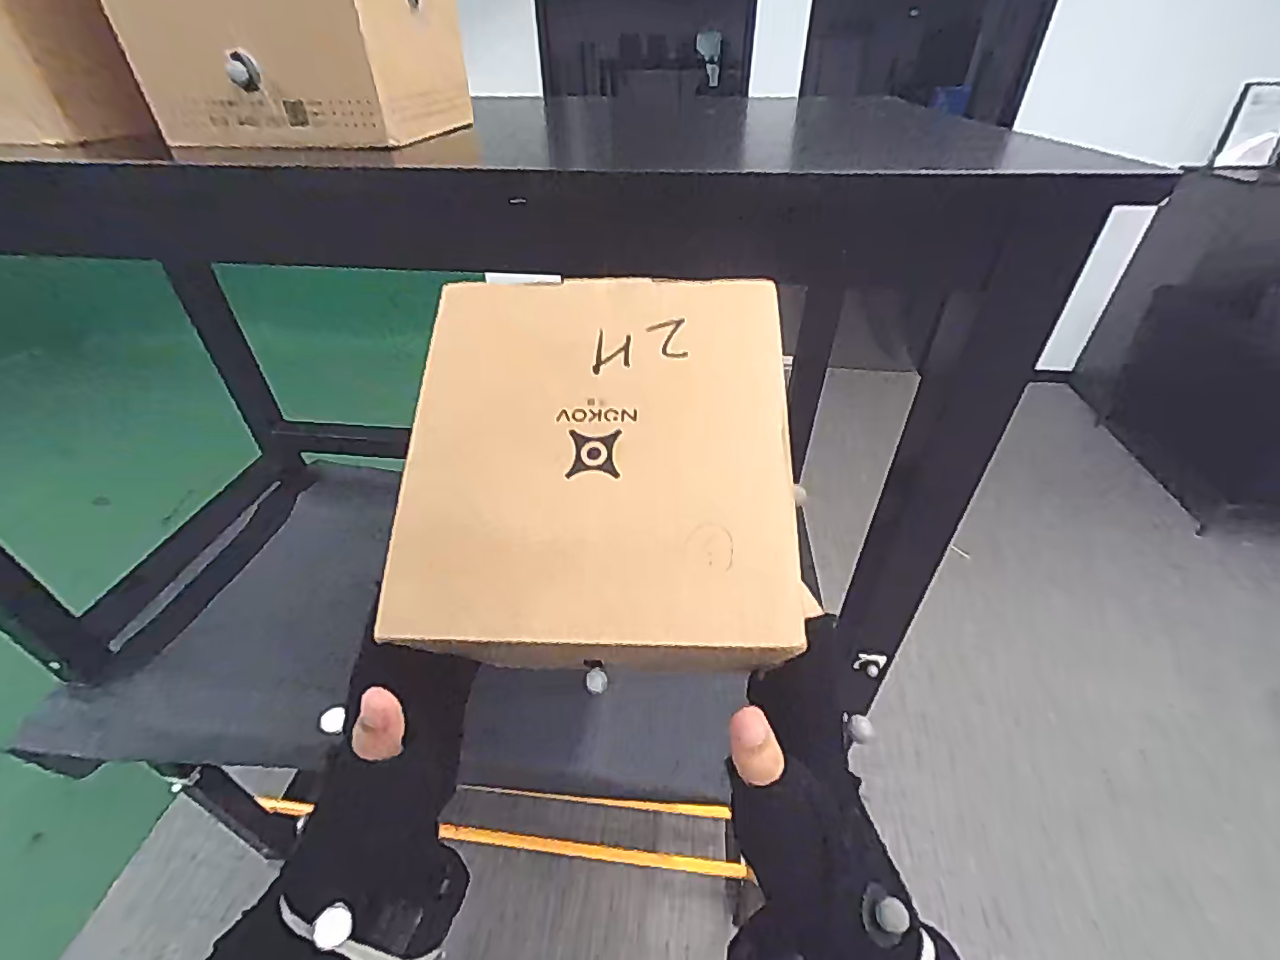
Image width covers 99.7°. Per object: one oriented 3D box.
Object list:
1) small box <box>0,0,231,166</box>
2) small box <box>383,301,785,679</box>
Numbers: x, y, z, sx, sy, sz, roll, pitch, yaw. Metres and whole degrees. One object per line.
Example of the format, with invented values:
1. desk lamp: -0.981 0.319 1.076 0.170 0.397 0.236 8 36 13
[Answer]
1. small box: -0.478 -0.350 0.420 0.168 0.176 0.179 4 38 7
2. small box: -0.016 0.020 0.317 0.168 0.176 0.179 1 67 3
